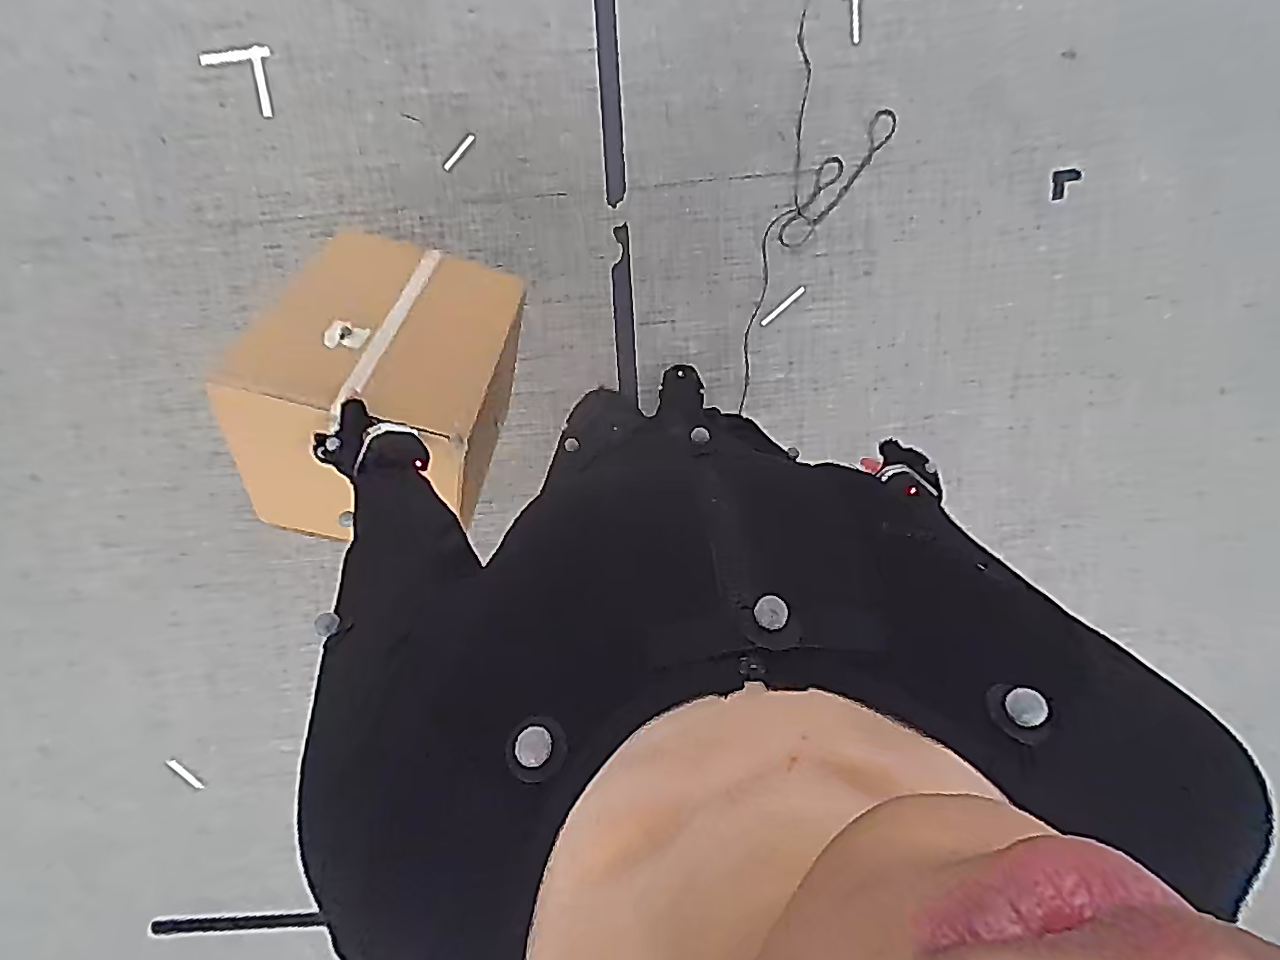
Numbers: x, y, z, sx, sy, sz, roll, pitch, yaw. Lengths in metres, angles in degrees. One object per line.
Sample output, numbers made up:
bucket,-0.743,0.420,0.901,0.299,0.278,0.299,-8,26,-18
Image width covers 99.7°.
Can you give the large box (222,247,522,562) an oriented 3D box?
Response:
large box,-0.408,-0.128,0.935,0.320,0.408,0.320,12,138,-9
